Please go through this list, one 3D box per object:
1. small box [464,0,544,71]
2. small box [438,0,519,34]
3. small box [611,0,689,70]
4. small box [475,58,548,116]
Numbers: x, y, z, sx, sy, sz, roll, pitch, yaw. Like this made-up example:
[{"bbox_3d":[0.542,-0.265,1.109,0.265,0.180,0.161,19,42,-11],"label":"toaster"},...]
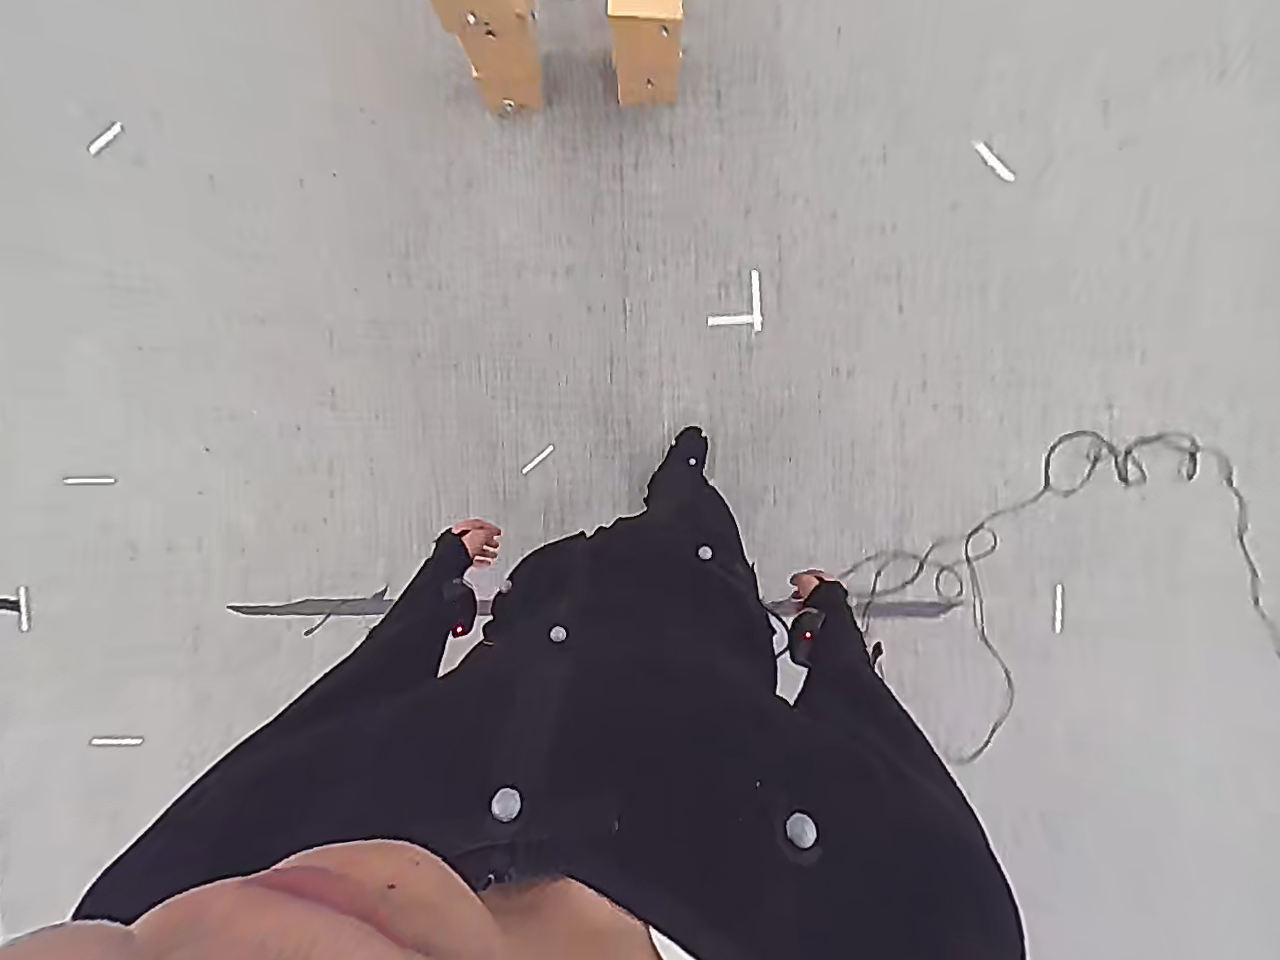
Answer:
[{"bbox_3d":[-0.345,-1.150,1.330,0.179,0.176,0.168,-6,92,2],"label":"small box"},{"bbox_3d":[-0.364,-1.119,1.167,0.168,0.176,0.179,-2,93,3],"label":"small box"},{"bbox_3d":[0.028,-1.146,1.323,0.179,0.176,0.168,4,92,1],"label":"small box"},{"bbox_3d":[-0.354,-1.152,1.494,0.168,0.176,0.179,-4,92,2],"label":"small box"}]
